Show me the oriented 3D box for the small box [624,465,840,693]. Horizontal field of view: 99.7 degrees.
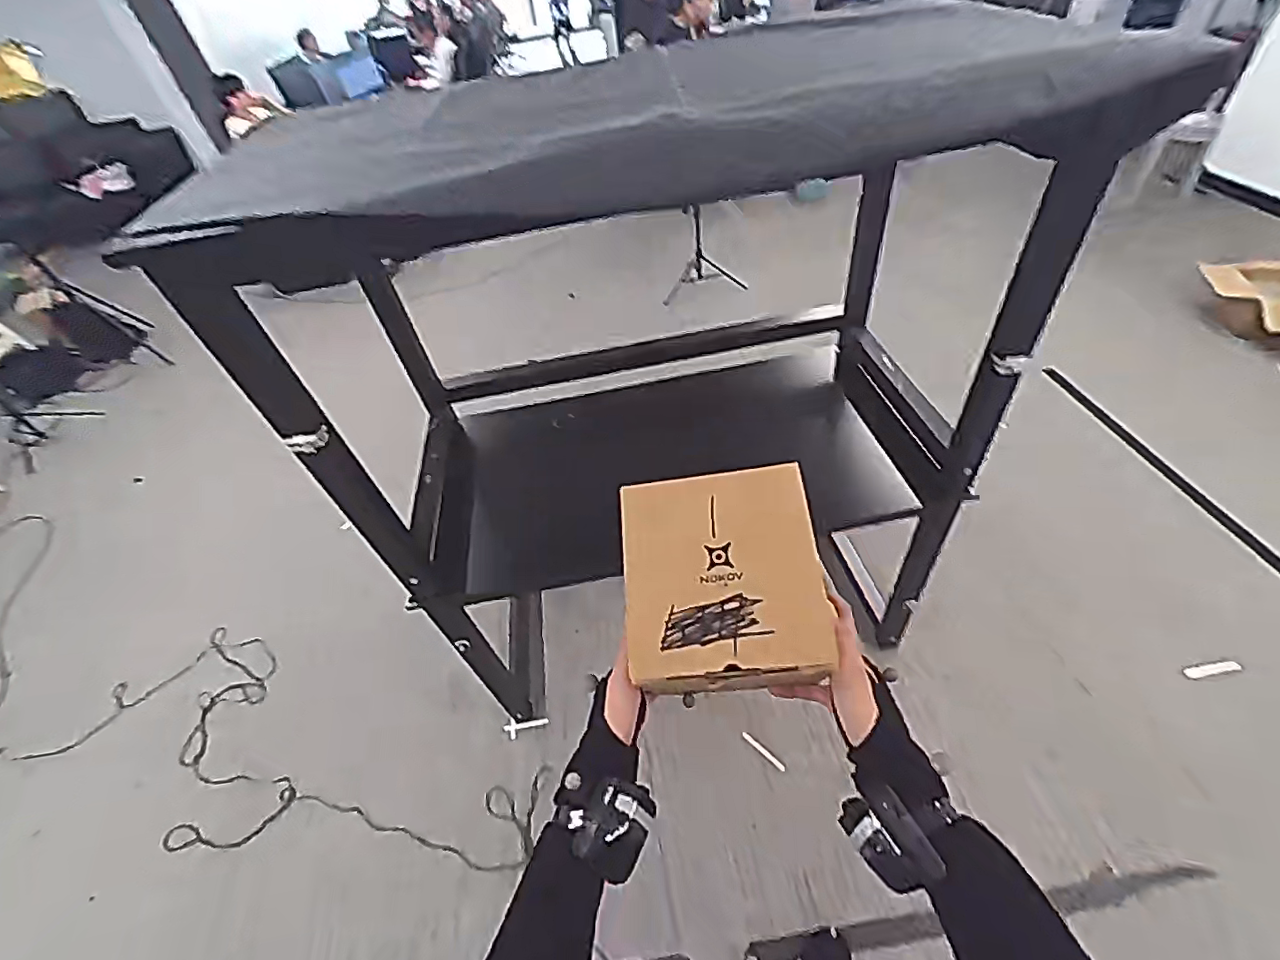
[{"bbox_3d":[0.084,0.107,0.524,0.168,0.176,0.179,-8,64,8],"label":"small box"}]
